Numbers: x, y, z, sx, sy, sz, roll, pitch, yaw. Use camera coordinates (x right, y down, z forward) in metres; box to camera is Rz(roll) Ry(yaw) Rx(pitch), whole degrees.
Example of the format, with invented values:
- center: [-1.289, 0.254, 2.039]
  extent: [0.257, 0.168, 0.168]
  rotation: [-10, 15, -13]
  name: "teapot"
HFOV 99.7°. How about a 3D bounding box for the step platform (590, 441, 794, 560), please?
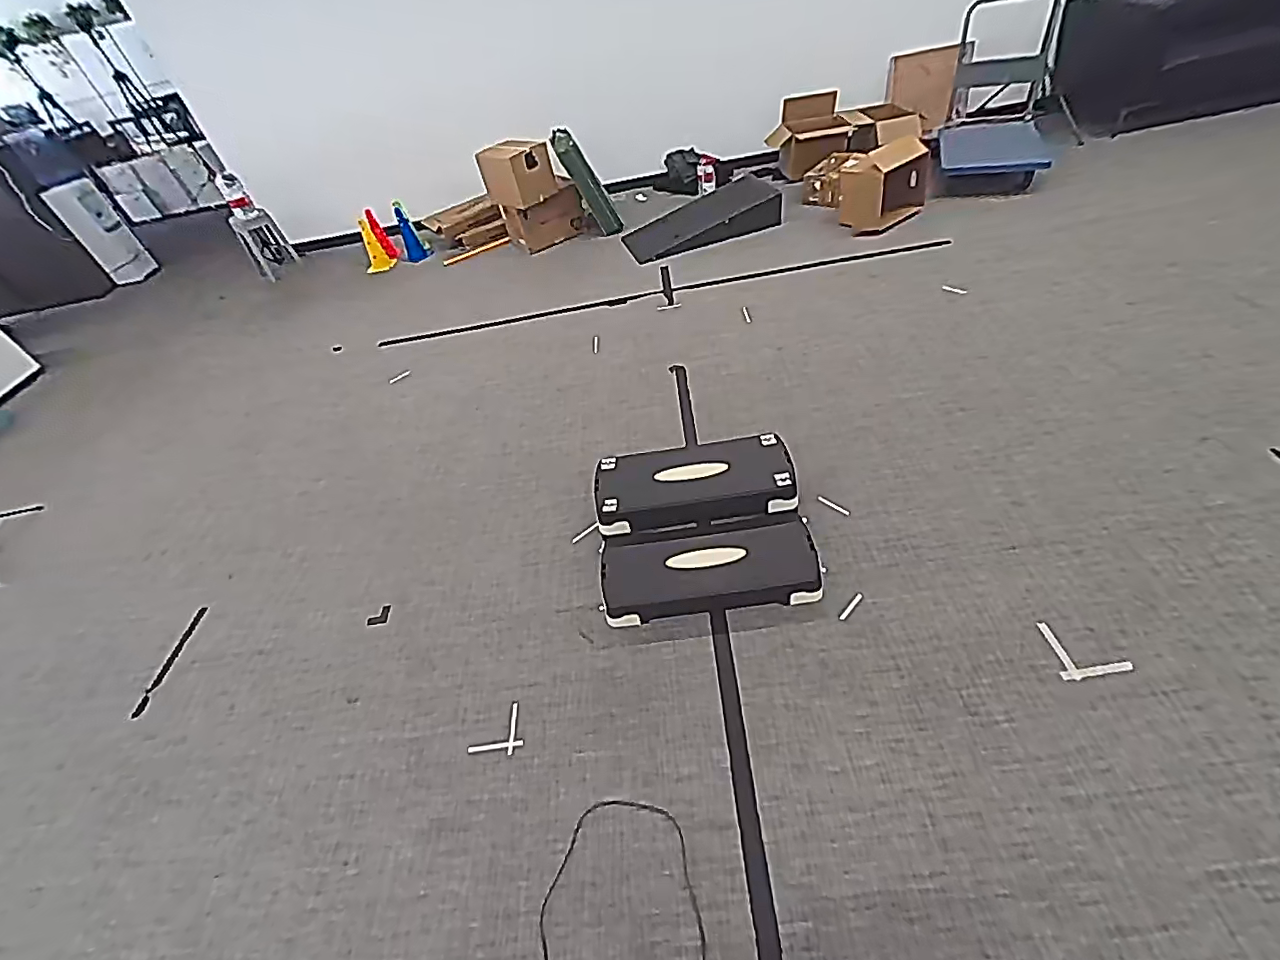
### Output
- center: [0.170, 0.065, 1.854]
  extent: [0.684, 0.204, 0.286]
  rotation: [-9, 45, 3]
  name: "step platform"
